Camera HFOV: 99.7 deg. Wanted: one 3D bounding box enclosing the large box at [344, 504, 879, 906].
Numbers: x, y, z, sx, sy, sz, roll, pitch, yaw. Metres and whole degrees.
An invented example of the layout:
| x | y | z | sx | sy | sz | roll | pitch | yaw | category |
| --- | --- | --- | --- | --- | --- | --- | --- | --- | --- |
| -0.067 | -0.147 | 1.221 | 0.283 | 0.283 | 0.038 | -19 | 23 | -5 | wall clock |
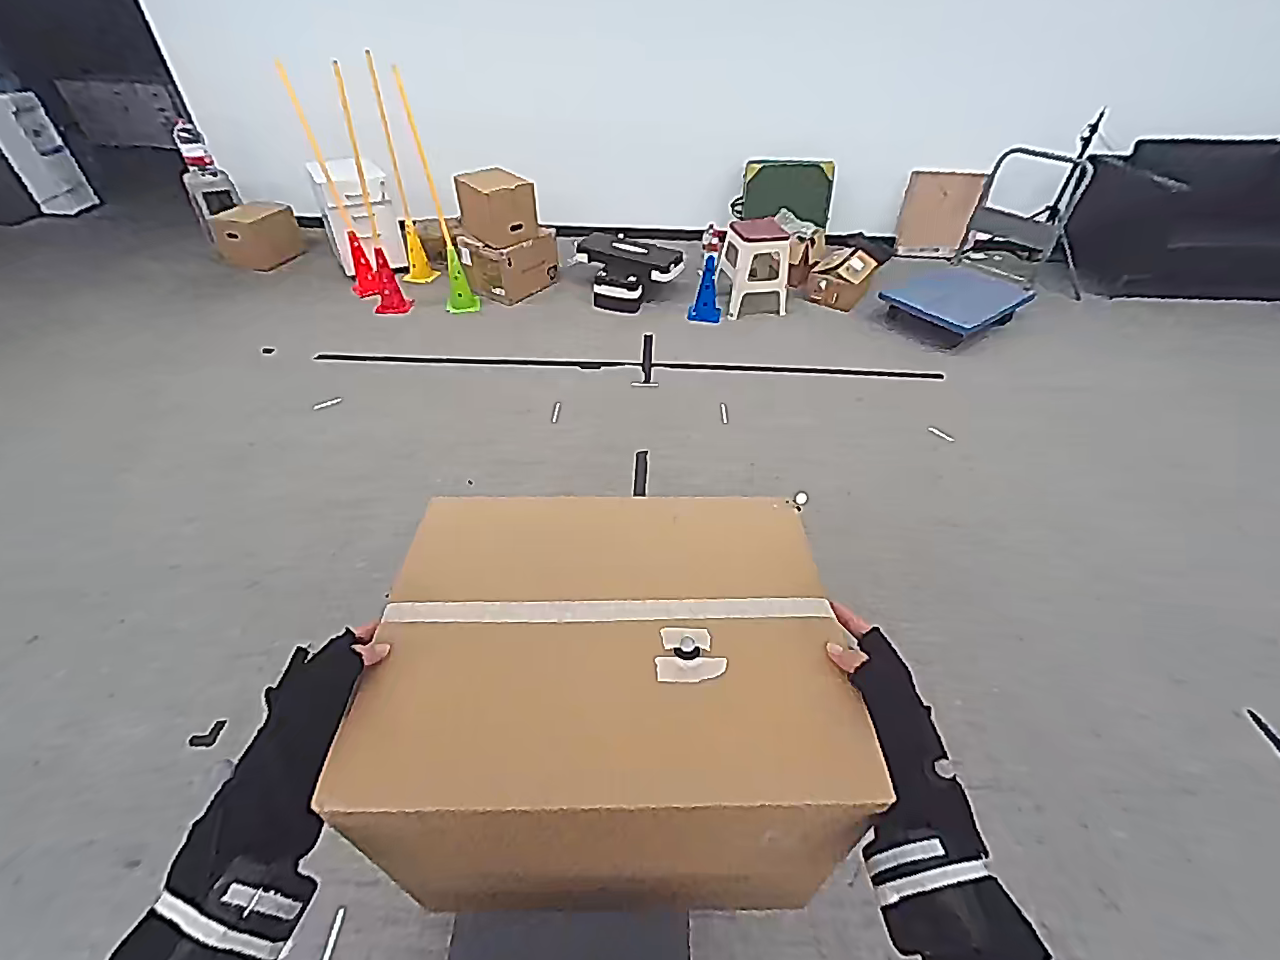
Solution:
| x | y | z | sx | sy | sz | roll | pitch | yaw | category |
| --- | --- | --- | --- | --- | --- | --- | --- | --- | --- |
| -0.025 | 0.241 | 0.603 | 0.408 | 0.320 | 0.320 | 0 | 41 | -1 | large box |
